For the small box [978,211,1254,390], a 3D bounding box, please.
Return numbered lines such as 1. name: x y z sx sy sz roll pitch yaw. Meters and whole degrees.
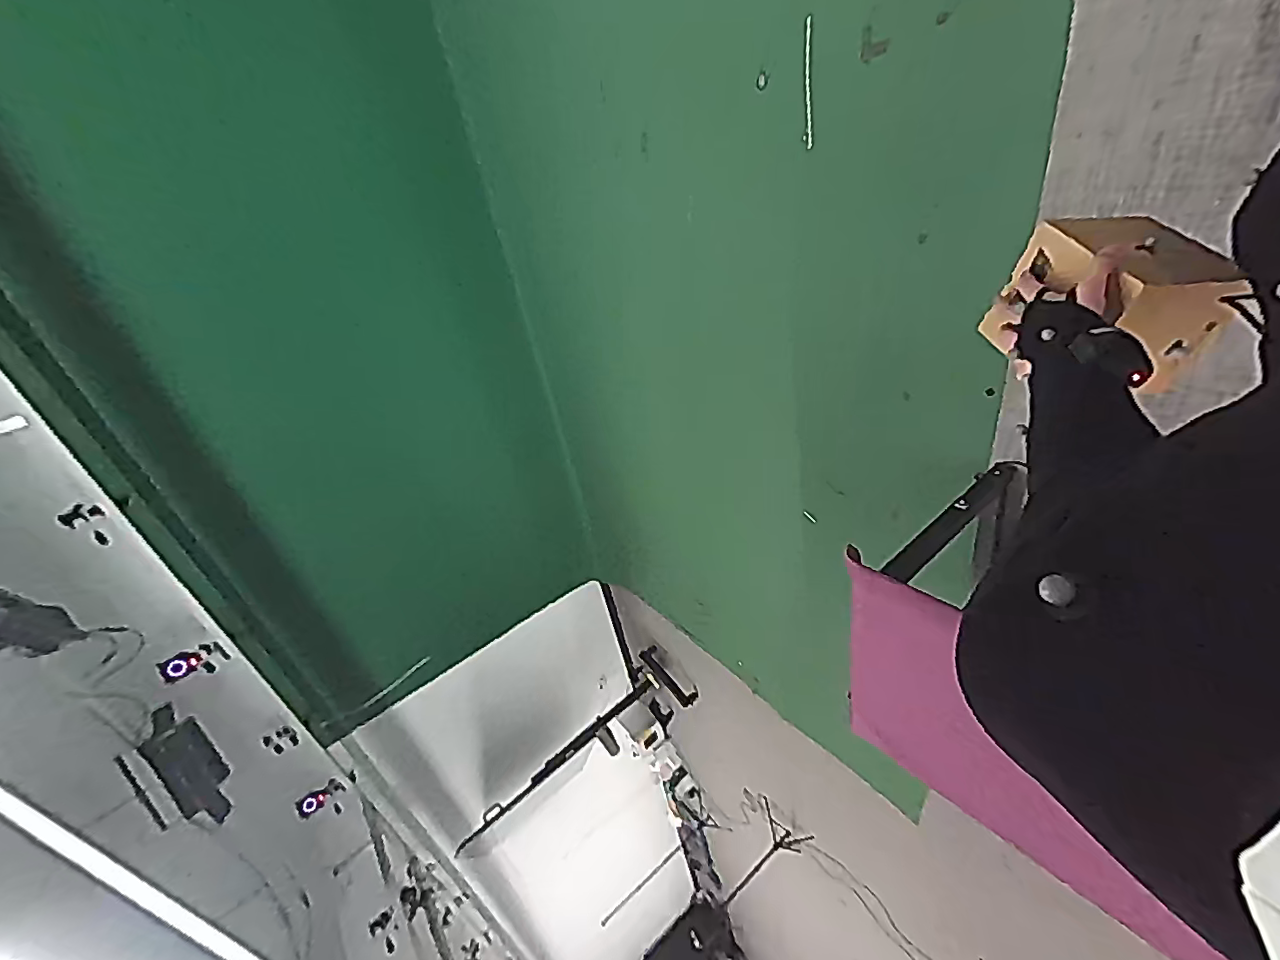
1. small box: 0.611 -0.238 0.719 0.168 0.176 0.179 94 166 -48
